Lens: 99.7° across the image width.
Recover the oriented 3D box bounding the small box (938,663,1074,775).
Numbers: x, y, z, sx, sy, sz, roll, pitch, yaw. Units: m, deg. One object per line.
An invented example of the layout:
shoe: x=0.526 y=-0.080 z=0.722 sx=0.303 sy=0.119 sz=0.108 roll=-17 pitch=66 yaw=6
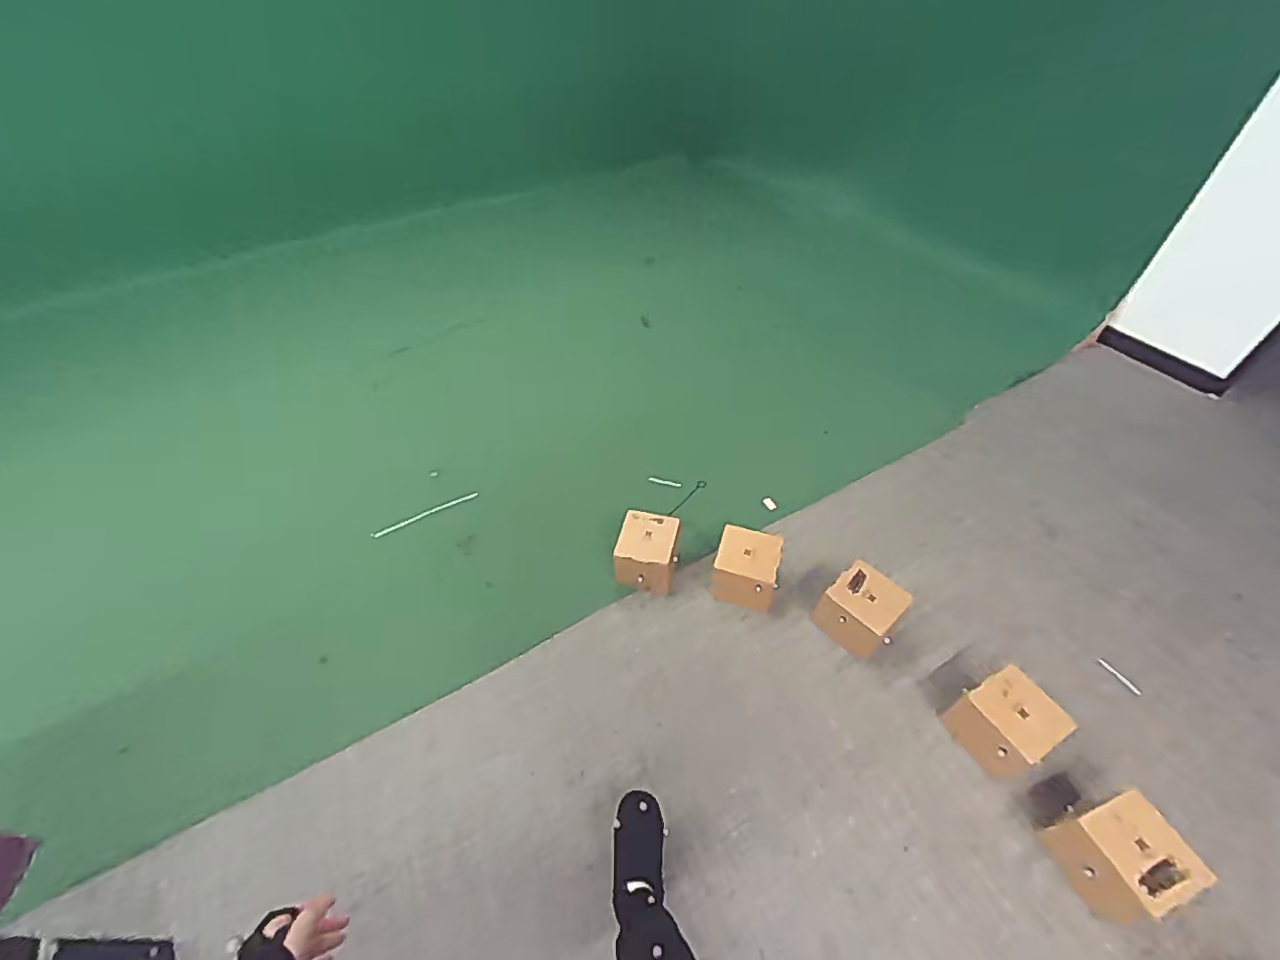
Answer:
small box: x=0.871 y=0.584 z=1.304 sx=0.168 sy=0.176 sz=0.179 roll=-23 pitch=52 yaw=-18

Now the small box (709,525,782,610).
small box: x=0.311 y=0.264 z=1.615 sx=0.179 sy=0.176 sz=0.168 roll=14 pitch=50 yaw=14

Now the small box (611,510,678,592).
small box: x=0.020 y=0.222 z=1.662 sx=0.168 sy=0.176 sz=0.179 roll=10 pitch=50 yaw=11
